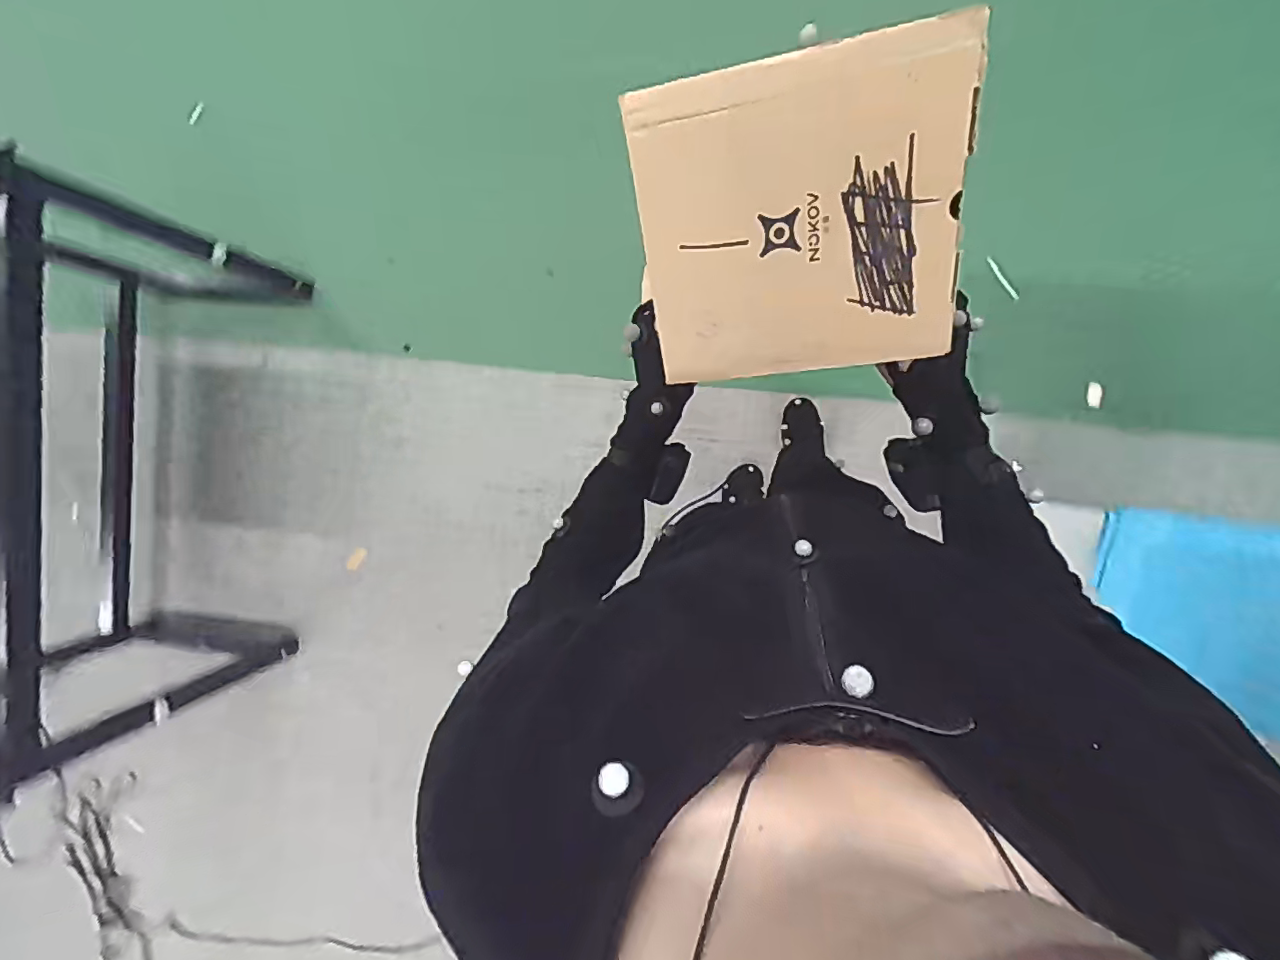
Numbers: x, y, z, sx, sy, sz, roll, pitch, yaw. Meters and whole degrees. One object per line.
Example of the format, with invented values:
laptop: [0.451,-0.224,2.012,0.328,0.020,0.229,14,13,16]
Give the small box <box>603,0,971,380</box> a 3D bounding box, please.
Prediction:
small box: [0.091,-0.182,0.365,0.179,0.176,0.168,-4,119,15]
